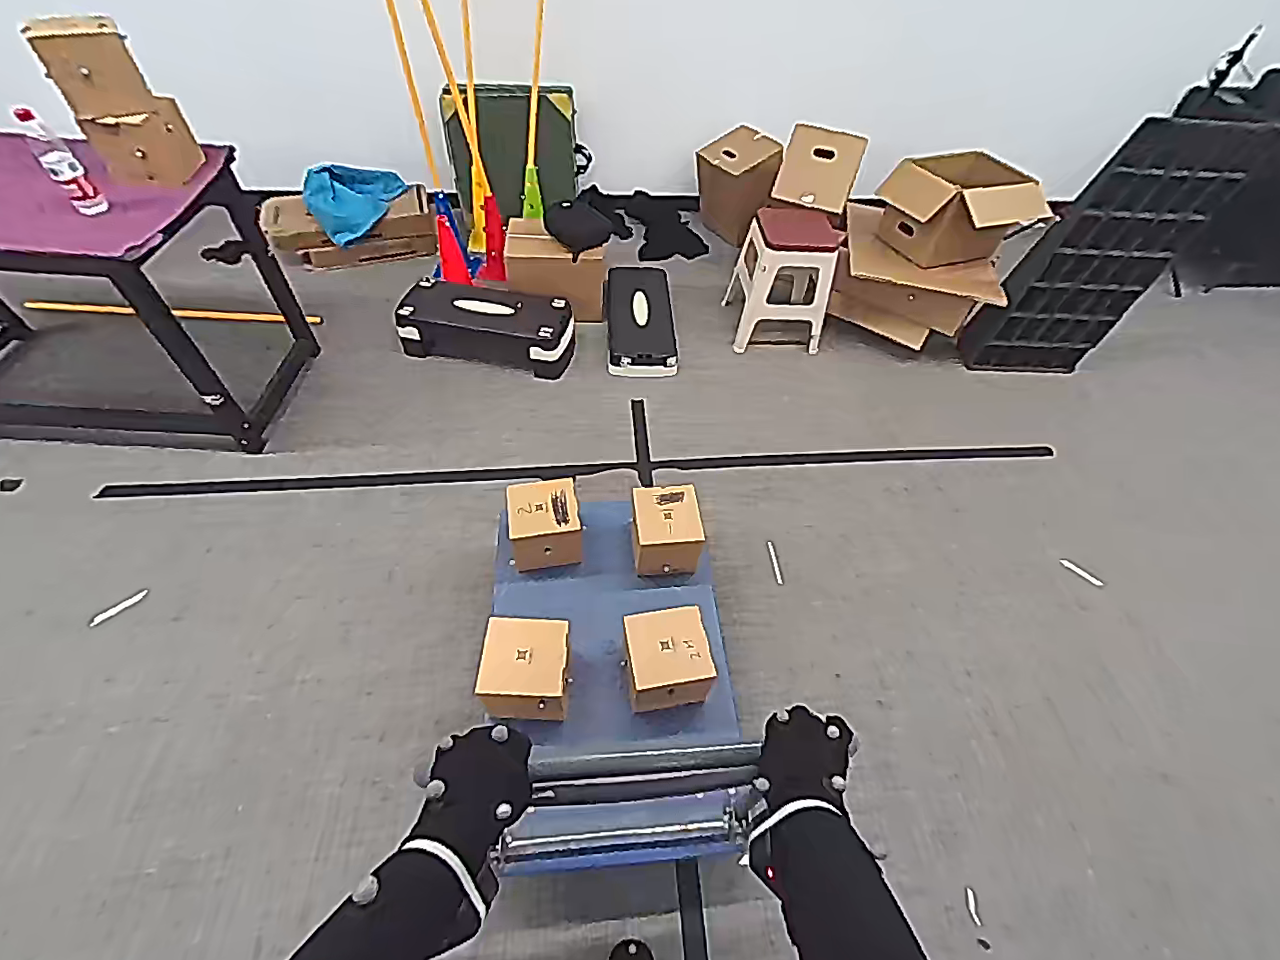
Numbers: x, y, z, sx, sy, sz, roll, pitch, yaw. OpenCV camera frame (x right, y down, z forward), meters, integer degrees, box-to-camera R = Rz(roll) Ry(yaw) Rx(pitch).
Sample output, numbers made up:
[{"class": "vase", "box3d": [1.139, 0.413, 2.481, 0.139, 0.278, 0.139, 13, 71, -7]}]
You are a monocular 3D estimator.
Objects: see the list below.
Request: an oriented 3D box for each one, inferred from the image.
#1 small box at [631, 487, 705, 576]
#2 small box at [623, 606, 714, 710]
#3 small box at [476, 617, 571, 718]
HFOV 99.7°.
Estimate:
[{"class": "small box", "box3d": [0.067, 0.138, 1.447, 0.168, 0.176, 0.179, -3, 53, -6]}, {"class": "small box", "box3d": [0.056, 0.409, 1.234, 0.179, 0.176, 0.168, -6, 53, -9]}, {"class": "small box", "box3d": [-0.249, 0.419, 1.202, 0.179, 0.176, 0.168, 4, 51, -3]}]
